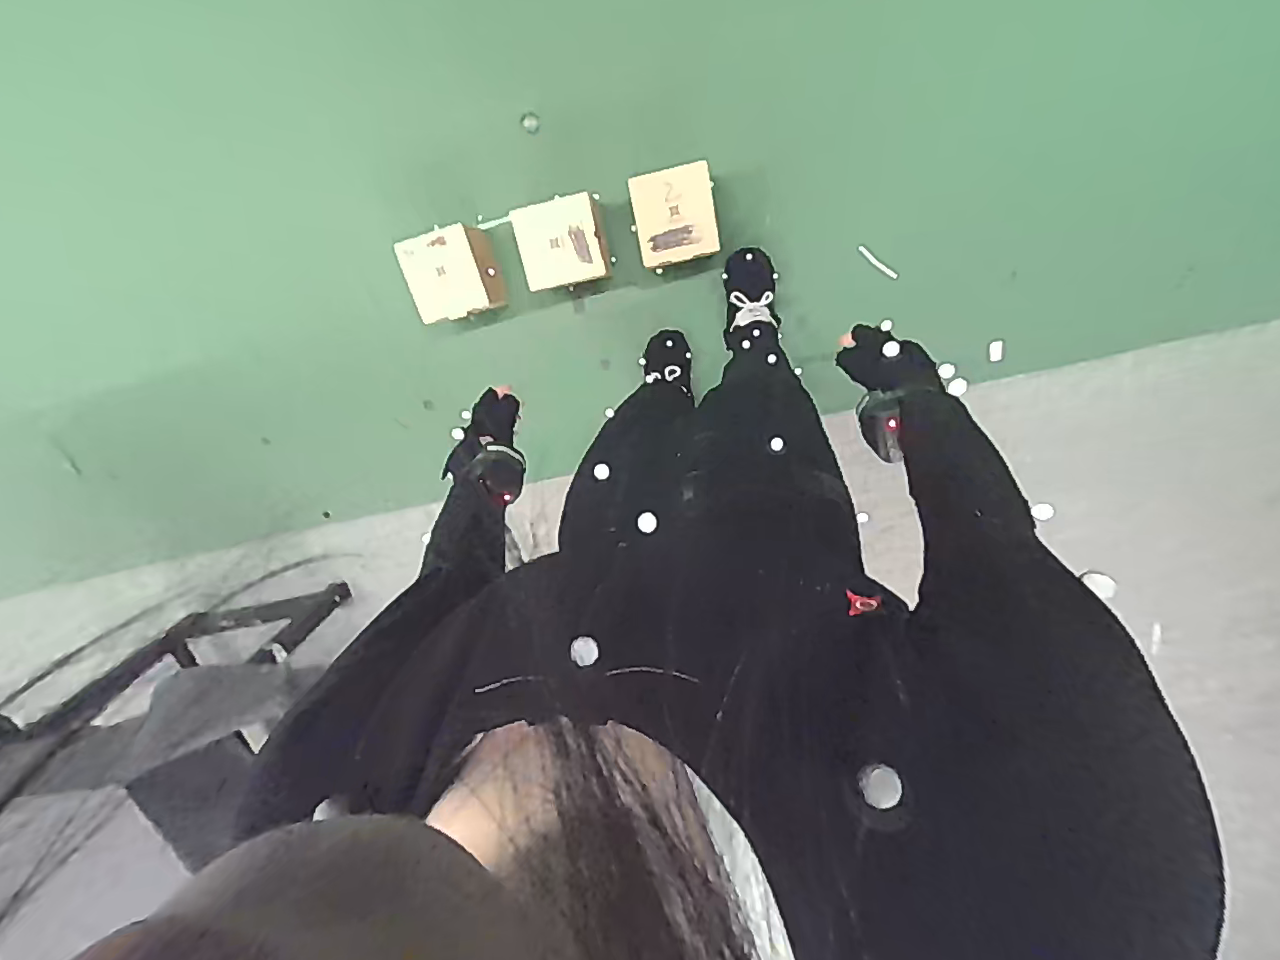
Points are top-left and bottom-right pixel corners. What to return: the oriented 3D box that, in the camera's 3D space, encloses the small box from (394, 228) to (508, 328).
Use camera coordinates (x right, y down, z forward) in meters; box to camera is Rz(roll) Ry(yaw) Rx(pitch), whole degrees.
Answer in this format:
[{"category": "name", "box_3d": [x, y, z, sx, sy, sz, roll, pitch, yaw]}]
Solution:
[{"category": "small box", "box_3d": [-0.428, -0.470, 1.258, 0.168, 0.176, 0.179, -13, 110, 8]}]
